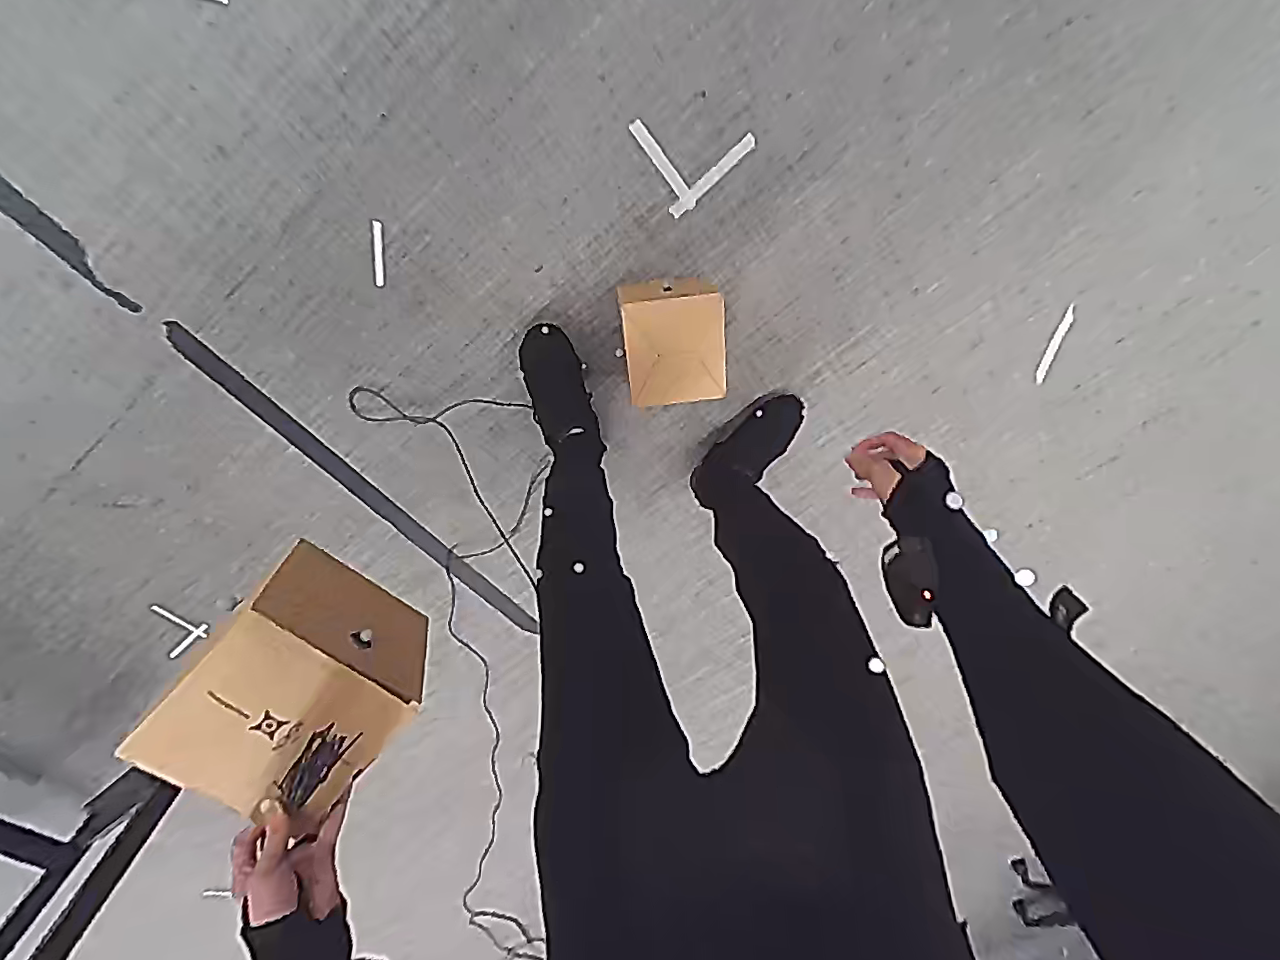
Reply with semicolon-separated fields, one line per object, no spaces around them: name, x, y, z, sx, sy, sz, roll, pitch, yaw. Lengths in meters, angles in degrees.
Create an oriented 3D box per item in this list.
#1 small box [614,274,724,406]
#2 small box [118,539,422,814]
small box;0.050;-0.251;0.956;0.168;0.176;0.179;-7;120;0
small box;-0.348;0.188;0.558;0.168;0.176;0.179;-47;113;-2
